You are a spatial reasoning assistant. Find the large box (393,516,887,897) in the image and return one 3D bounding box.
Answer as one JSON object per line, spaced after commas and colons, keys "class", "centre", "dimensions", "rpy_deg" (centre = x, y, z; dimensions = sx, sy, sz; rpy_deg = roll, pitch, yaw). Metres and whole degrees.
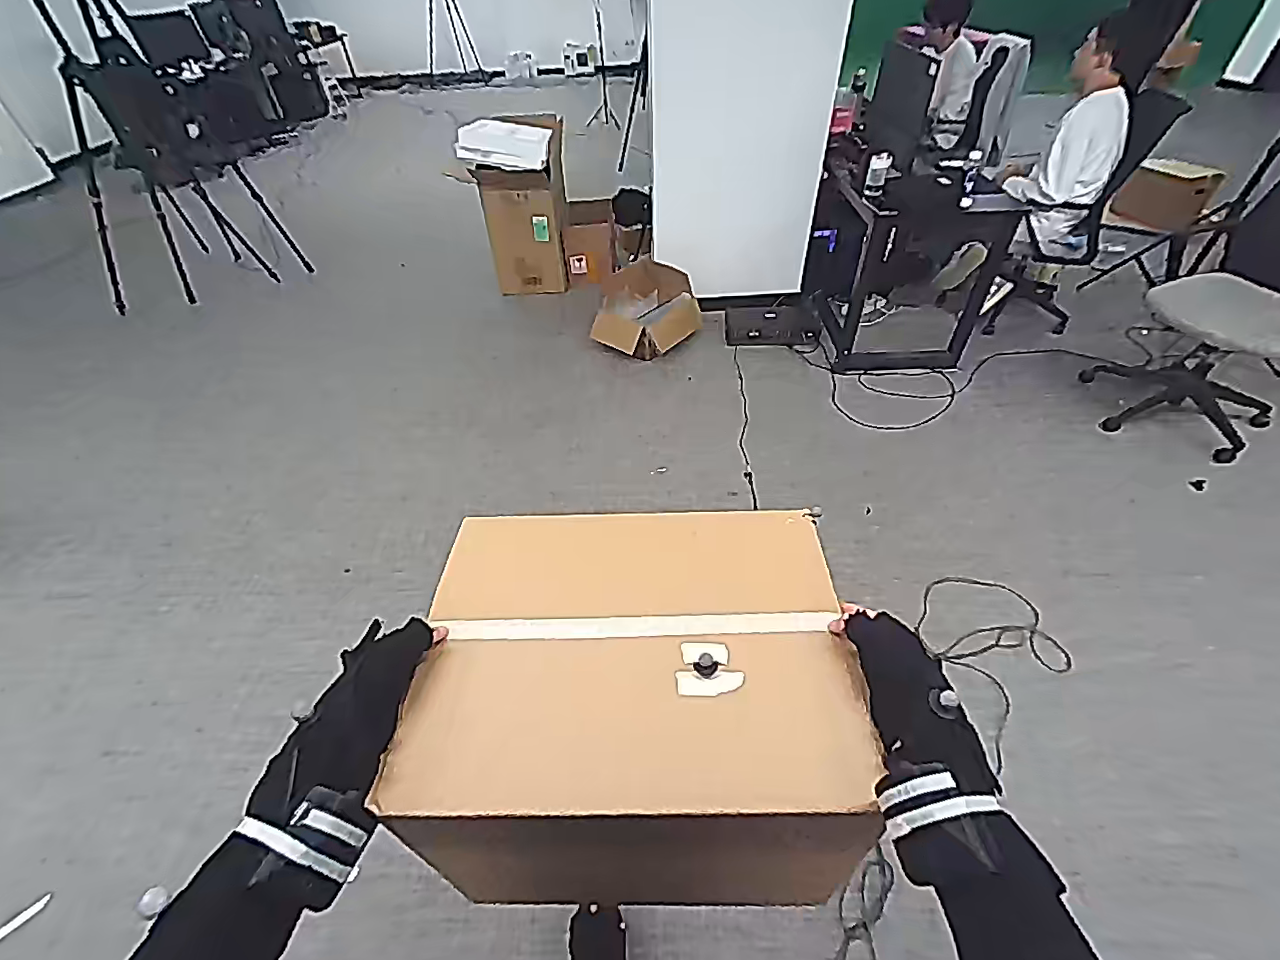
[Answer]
{"class": "large box", "centre": [0.002, 0.262, 0.635], "dimensions": [0.408, 0.320, 0.320], "rpy_deg": [-1, 42, 2]}
